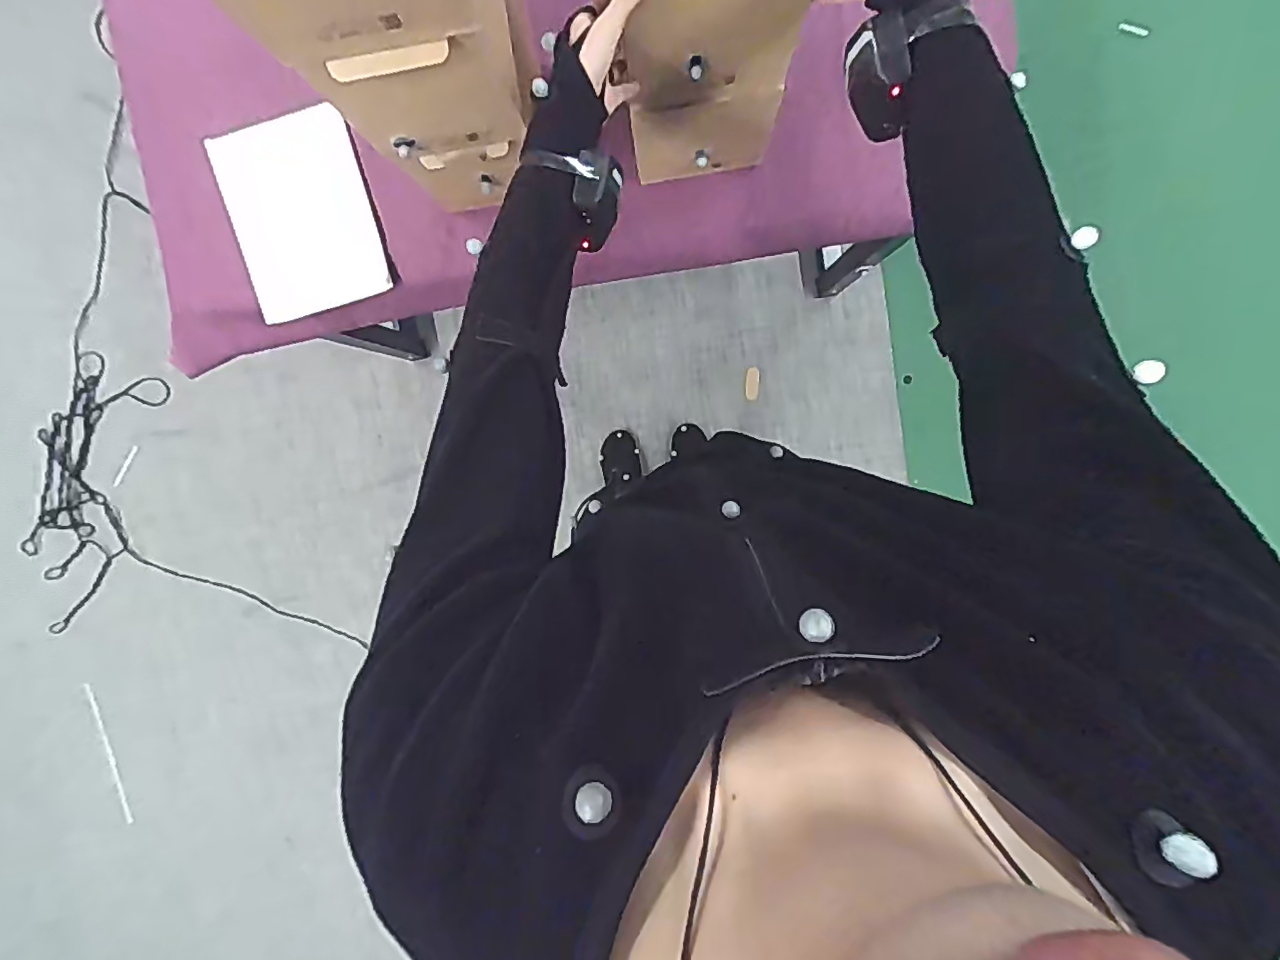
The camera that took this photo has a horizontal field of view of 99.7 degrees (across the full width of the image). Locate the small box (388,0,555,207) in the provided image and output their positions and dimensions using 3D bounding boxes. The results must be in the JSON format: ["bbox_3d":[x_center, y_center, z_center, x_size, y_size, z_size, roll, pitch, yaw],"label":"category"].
[{"bbox_3d":[-0.210,-0.464,0.676,0.168,0.176,0.179,-8,95,2],"label":"small box"}]

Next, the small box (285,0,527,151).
[{"bbox_3d":[-0.215,-0.443,0.513,0.168,0.176,0.179,-8,94,3],"label":"small box"}]

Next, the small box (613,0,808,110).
[{"bbox_3d":[0.054,-0.489,0.499,0.168,0.176,0.179,-8,95,3],"label":"small box"}]

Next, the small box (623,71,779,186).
[{"bbox_3d":[0.064,-0.497,0.661,0.168,0.176,0.179,-7,94,4],"label":"small box"}]

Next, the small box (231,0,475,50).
[{"bbox_3d":[-0.221,-0.423,0.351,0.168,0.176,0.179,-7,94,2],"label":"small box"}]
